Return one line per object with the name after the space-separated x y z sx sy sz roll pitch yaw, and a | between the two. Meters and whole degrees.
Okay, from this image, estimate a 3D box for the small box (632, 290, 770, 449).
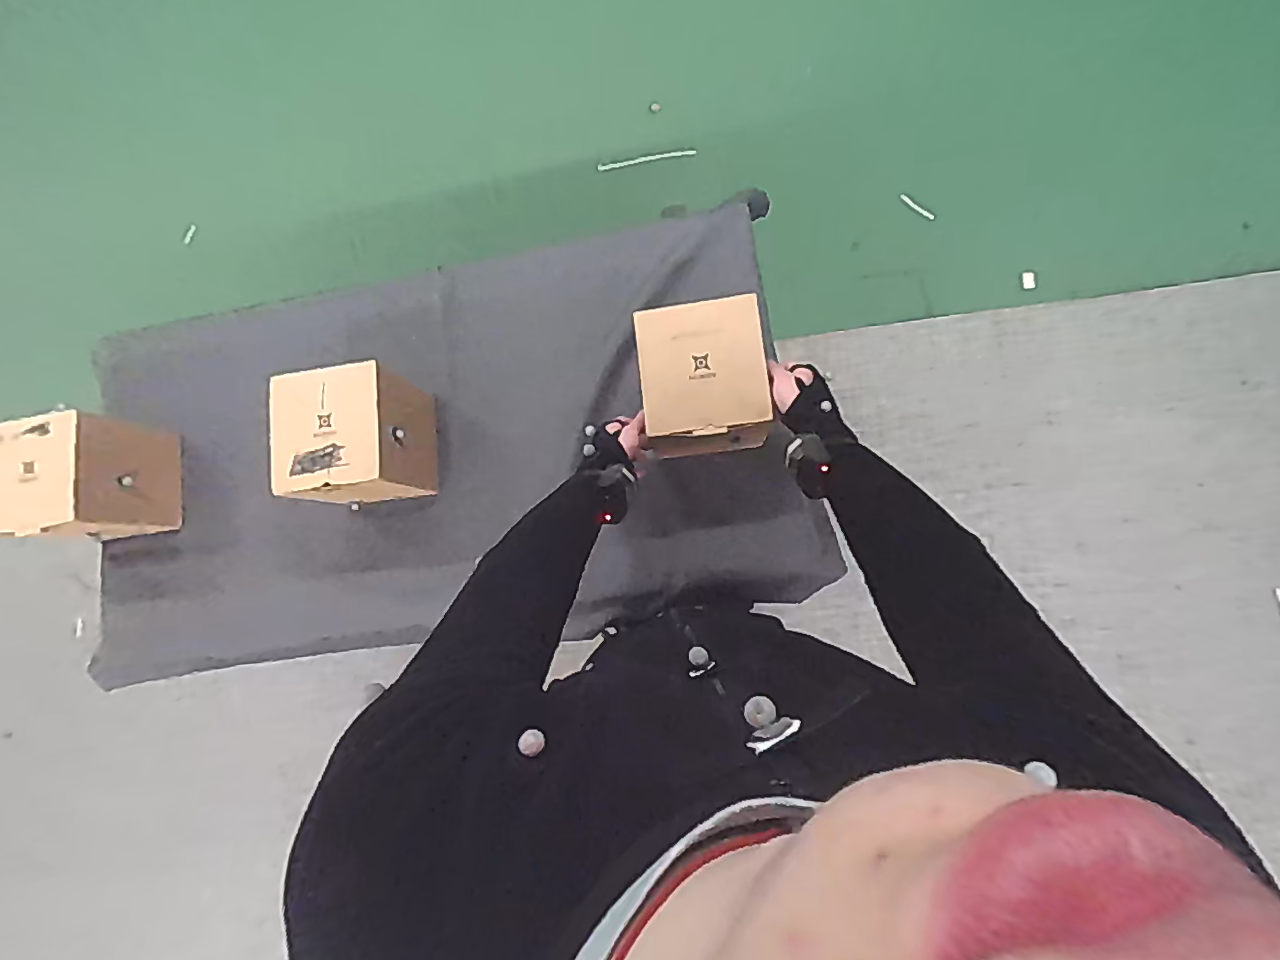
0.087 -0.145 0.779 0.168 0.176 0.179 -7 83 5 | small box

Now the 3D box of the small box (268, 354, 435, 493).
-0.433 -0.075 0.834 0.168 0.176 0.179 -7 83 6 | small box

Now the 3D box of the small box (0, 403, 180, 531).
-0.900 -0.013 0.885 0.168 0.176 0.179 -8 84 4 | small box
